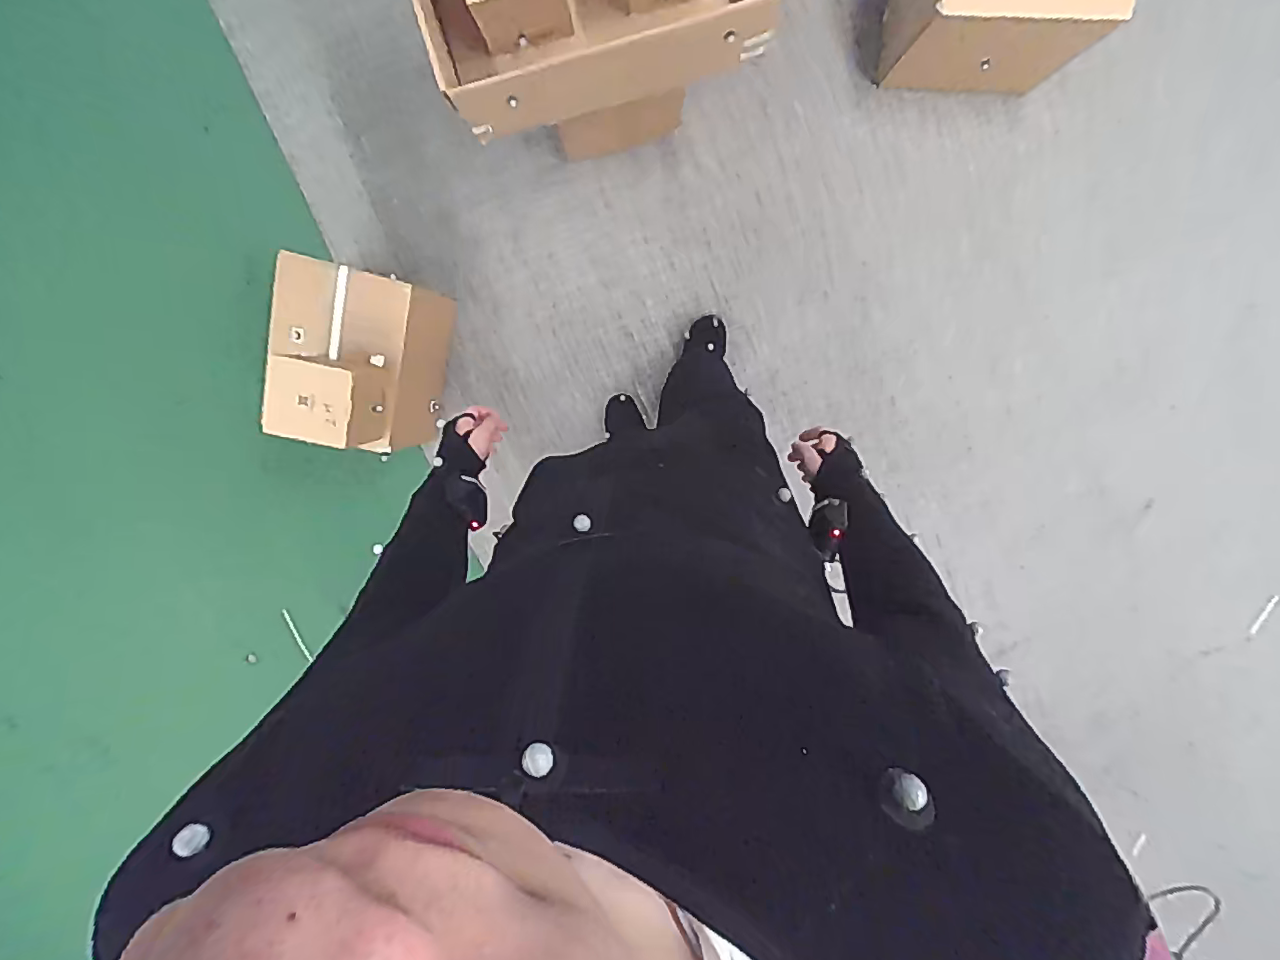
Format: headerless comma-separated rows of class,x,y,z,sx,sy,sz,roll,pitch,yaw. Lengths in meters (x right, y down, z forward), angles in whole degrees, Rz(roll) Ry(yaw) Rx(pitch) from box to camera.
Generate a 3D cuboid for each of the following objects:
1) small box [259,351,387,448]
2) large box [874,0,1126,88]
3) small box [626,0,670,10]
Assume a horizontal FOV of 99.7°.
small box,-0.683,-0.177,1.177,0.179,0.176,0.168,12,101,-4
large box,0.810,-1.140,1.236,0.408,0.320,0.320,1,101,1
small box,0.033,-0.961,0.914,0.168,0.176,0.179,-14,103,3
